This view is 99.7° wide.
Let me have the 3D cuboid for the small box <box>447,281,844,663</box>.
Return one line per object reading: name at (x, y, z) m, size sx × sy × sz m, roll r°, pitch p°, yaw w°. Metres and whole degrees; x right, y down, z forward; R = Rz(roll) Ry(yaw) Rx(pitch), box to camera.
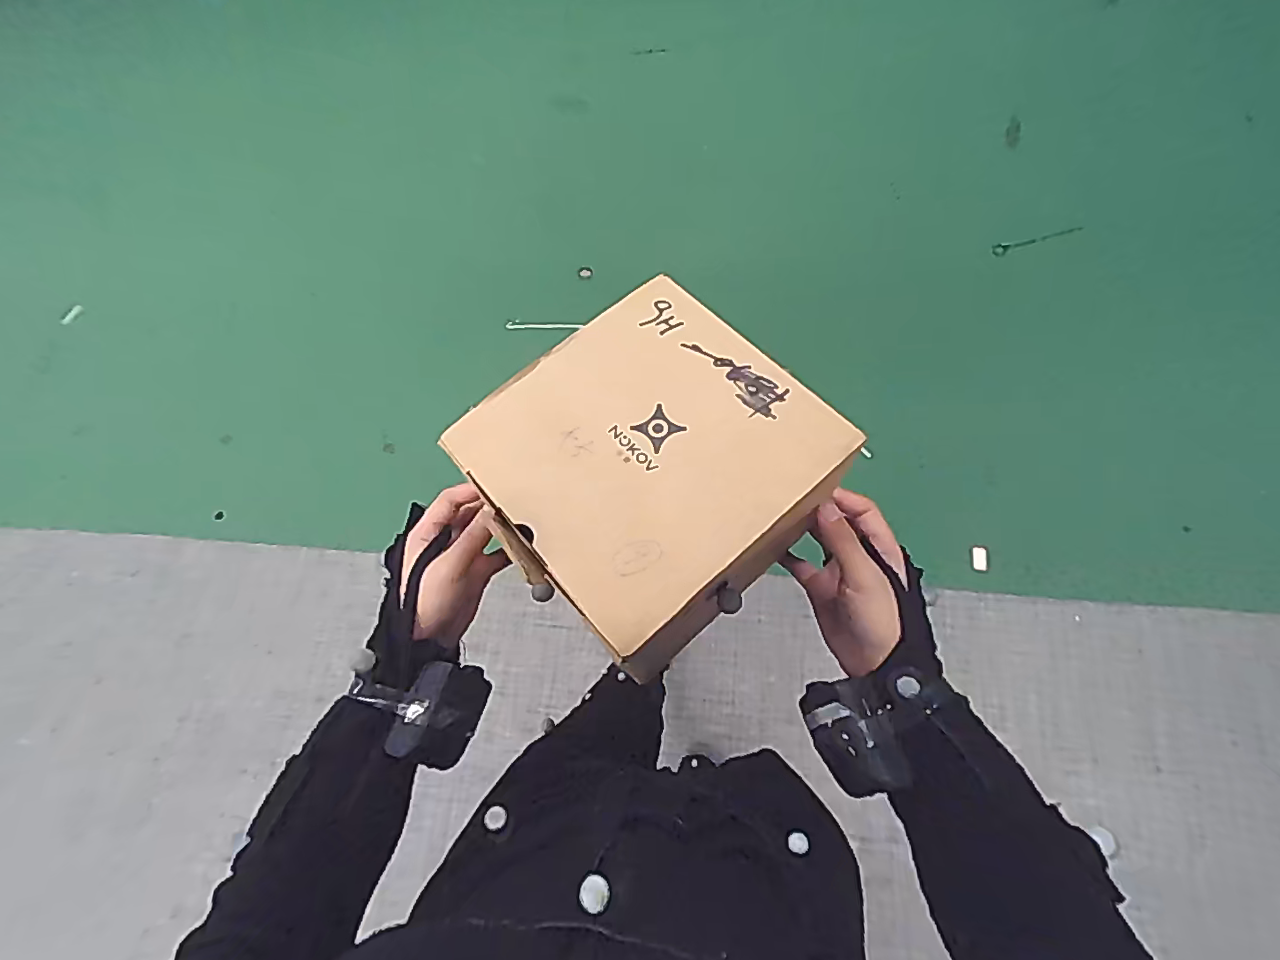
small box at (0.007, 0.008, 0.383) m, size 0.179 × 0.176 × 0.168 m, roll -40°, pitch 69°, yaw -12°
